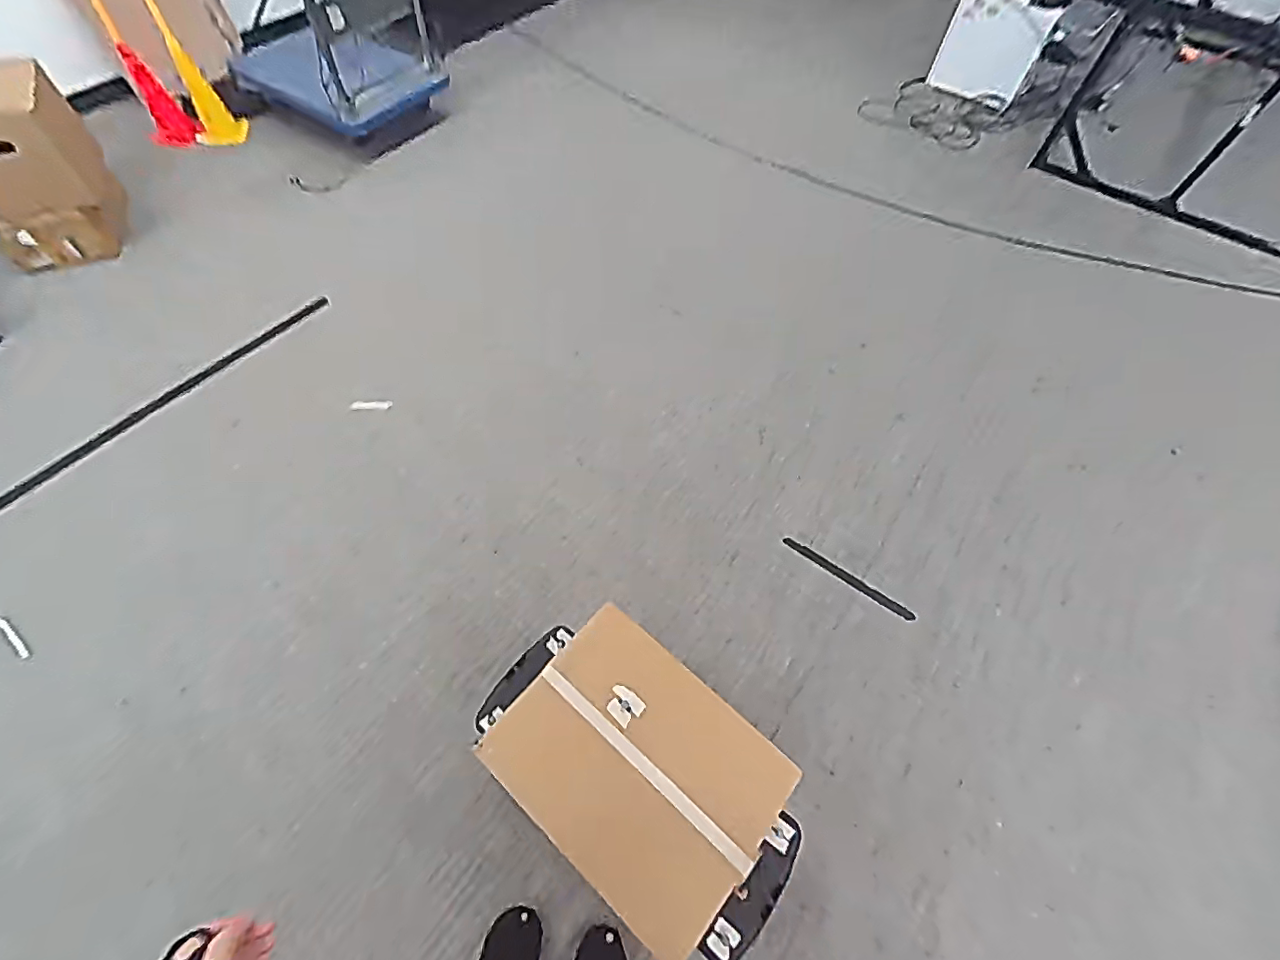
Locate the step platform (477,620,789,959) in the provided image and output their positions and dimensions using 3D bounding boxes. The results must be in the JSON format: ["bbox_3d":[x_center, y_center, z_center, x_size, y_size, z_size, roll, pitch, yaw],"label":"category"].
[{"bbox_3d":[-0.033,0.622,1.138,0.684,0.204,0.286,39,65,21],"label":"step platform"}]

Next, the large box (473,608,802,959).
[{"bbox_3d":[-0.004,0.502,0.932,0.408,0.320,0.320,37,64,20],"label":"large box"}]
